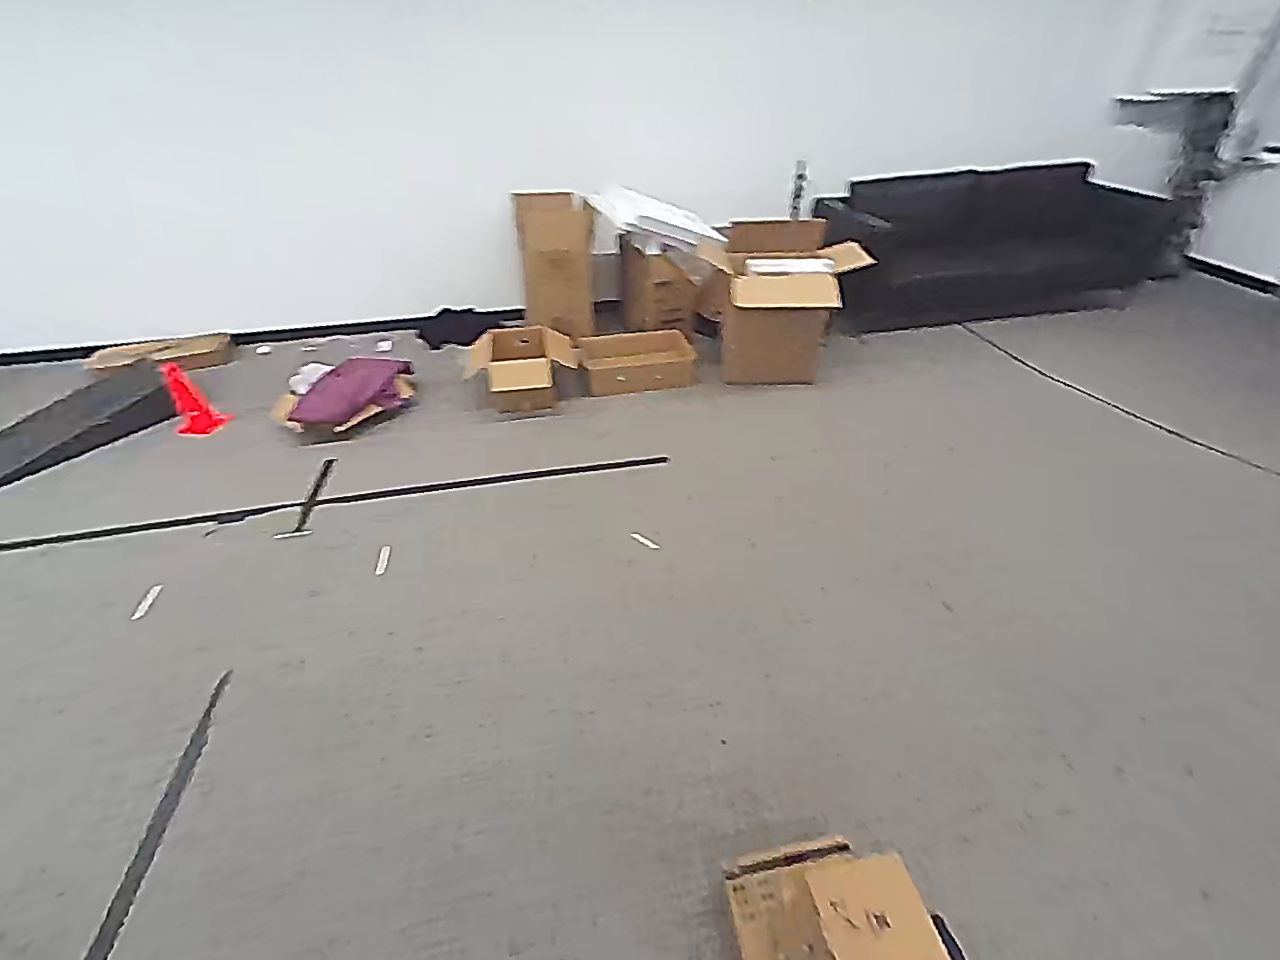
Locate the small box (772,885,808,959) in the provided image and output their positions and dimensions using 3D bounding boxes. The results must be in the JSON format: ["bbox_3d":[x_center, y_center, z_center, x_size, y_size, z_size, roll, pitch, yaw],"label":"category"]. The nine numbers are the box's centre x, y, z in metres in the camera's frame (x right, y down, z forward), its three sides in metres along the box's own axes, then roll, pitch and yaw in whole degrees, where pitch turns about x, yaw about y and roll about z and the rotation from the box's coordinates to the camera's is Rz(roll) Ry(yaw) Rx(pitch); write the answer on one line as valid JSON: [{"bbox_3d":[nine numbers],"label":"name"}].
[{"bbox_3d":[0.371,0.885,1.031,0.179,0.176,0.168,-9,40,-8],"label":"small box"}]

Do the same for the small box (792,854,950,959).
[{"bbox_3d":[0.379,0.767,0.914,0.179,0.176,0.168,-7,39,-7],"label":"small box"}]
